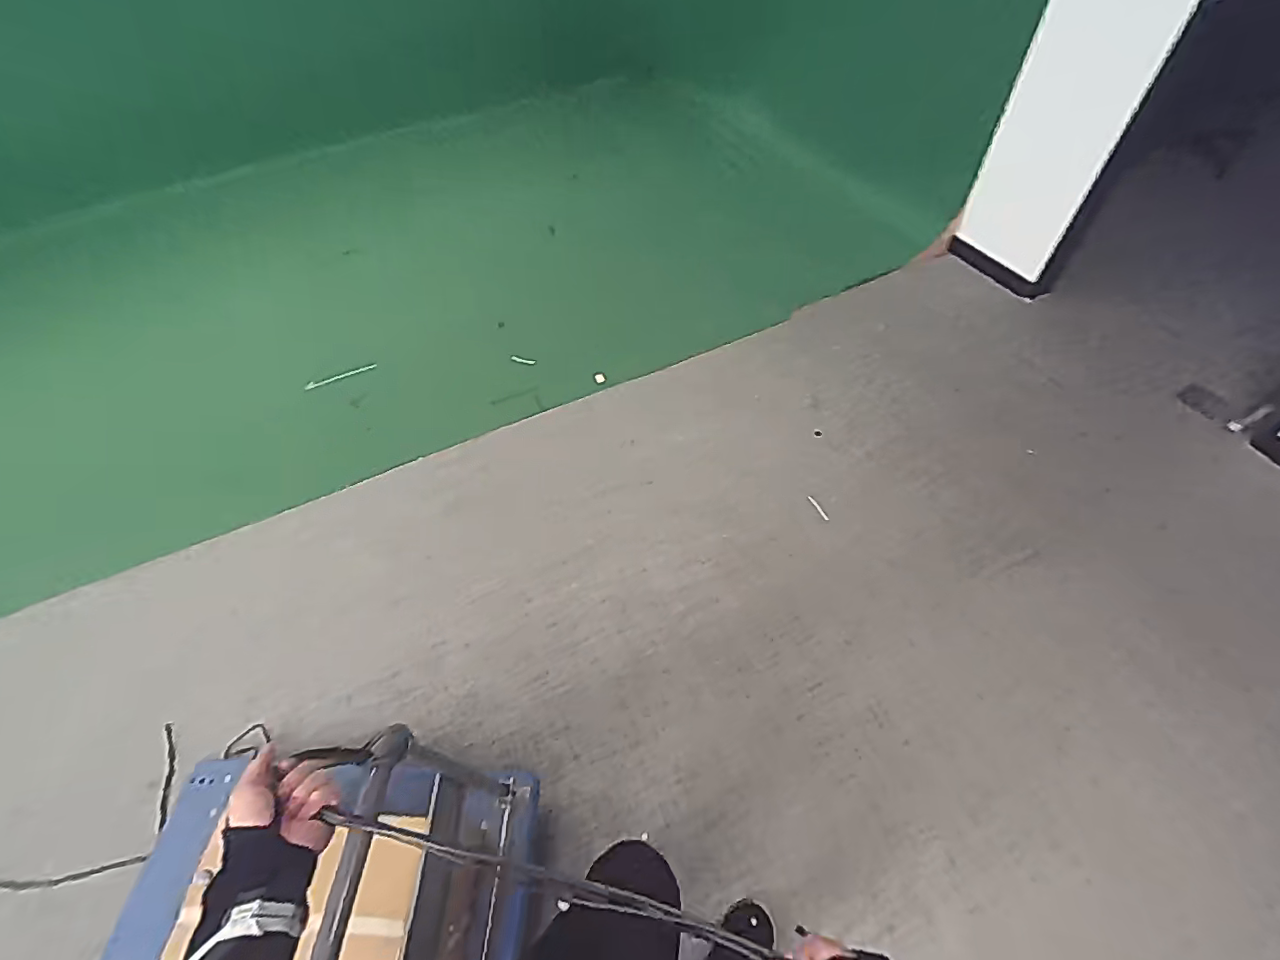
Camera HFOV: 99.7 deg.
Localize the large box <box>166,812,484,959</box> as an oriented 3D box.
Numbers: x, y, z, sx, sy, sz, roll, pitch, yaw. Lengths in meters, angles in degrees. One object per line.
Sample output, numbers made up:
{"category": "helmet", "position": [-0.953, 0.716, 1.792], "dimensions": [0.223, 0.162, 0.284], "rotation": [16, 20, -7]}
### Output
{"category": "large box", "position": [-0.554, 0.820, 1.013], "dimensions": [0.408, 0.320, 0.320], "rotation": [-1, 53, 6]}
